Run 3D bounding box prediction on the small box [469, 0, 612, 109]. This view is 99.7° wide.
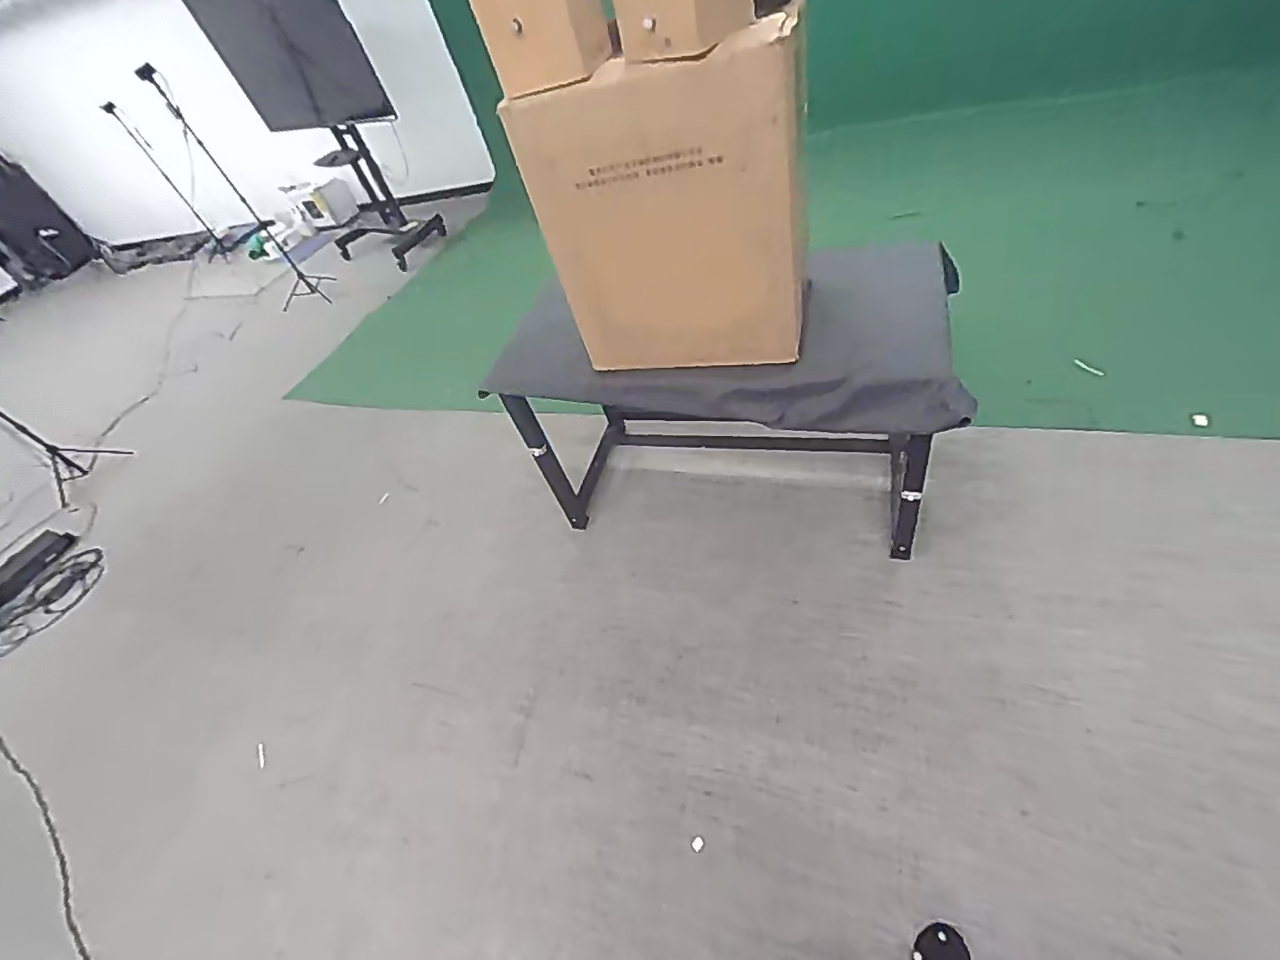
[{"bbox_3d":[-0.175,-0.823,1.007,0.179,0.176,0.168,0,50,23],"label":"small box"}]

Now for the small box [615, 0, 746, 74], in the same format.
[{"bbox_3d":[0.067,-0.816,0.912,0.168,0.176,0.179,24,60,35],"label":"small box"}]
